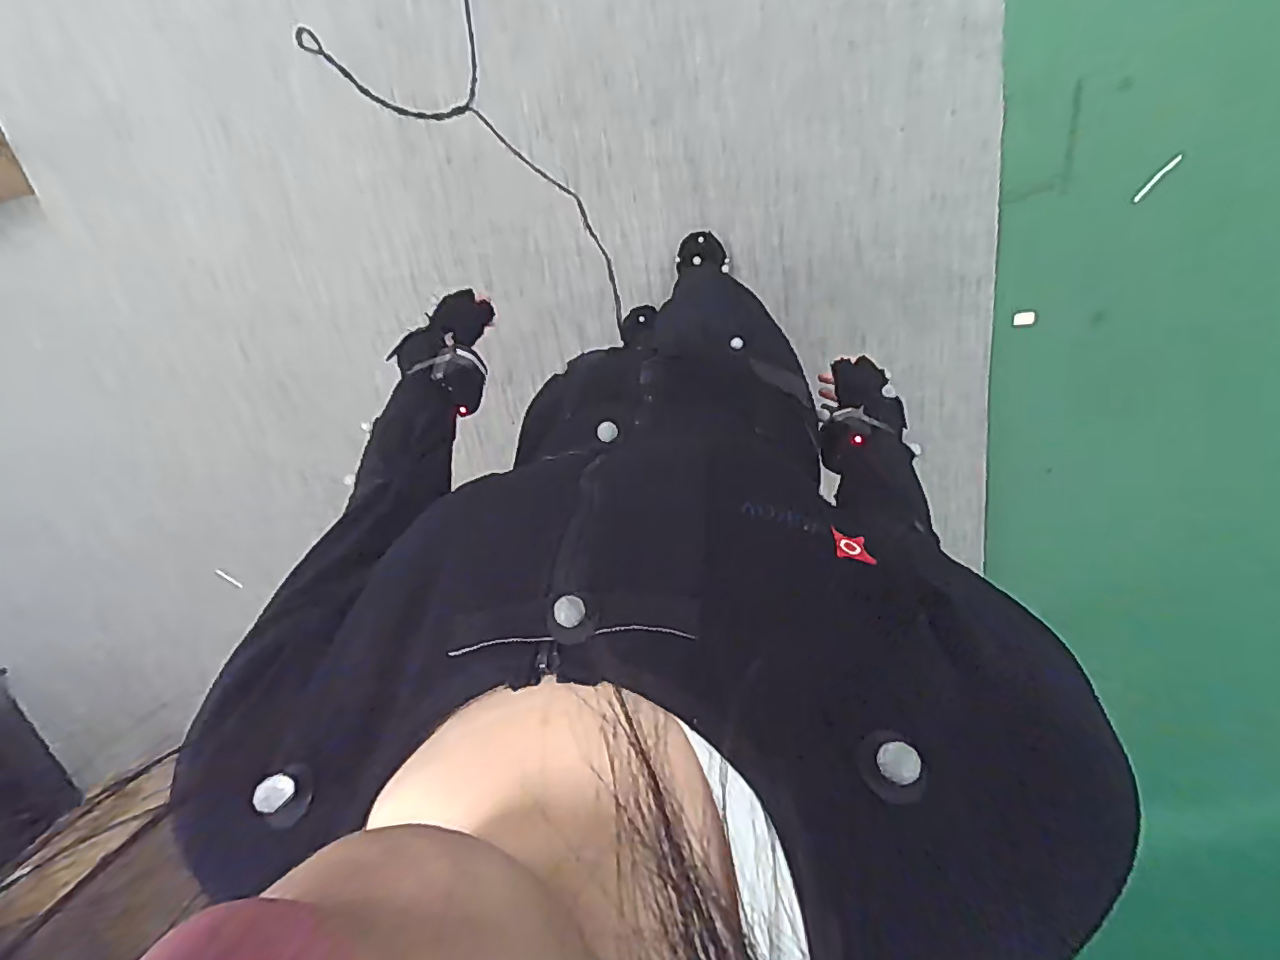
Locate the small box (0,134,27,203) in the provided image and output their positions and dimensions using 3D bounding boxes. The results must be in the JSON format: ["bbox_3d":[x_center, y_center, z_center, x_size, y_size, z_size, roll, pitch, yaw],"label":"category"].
[{"bbox_3d":[-1.608,-0.734,1.244,0.179,0.176,0.168,-11,110,7],"label":"small box"}]
